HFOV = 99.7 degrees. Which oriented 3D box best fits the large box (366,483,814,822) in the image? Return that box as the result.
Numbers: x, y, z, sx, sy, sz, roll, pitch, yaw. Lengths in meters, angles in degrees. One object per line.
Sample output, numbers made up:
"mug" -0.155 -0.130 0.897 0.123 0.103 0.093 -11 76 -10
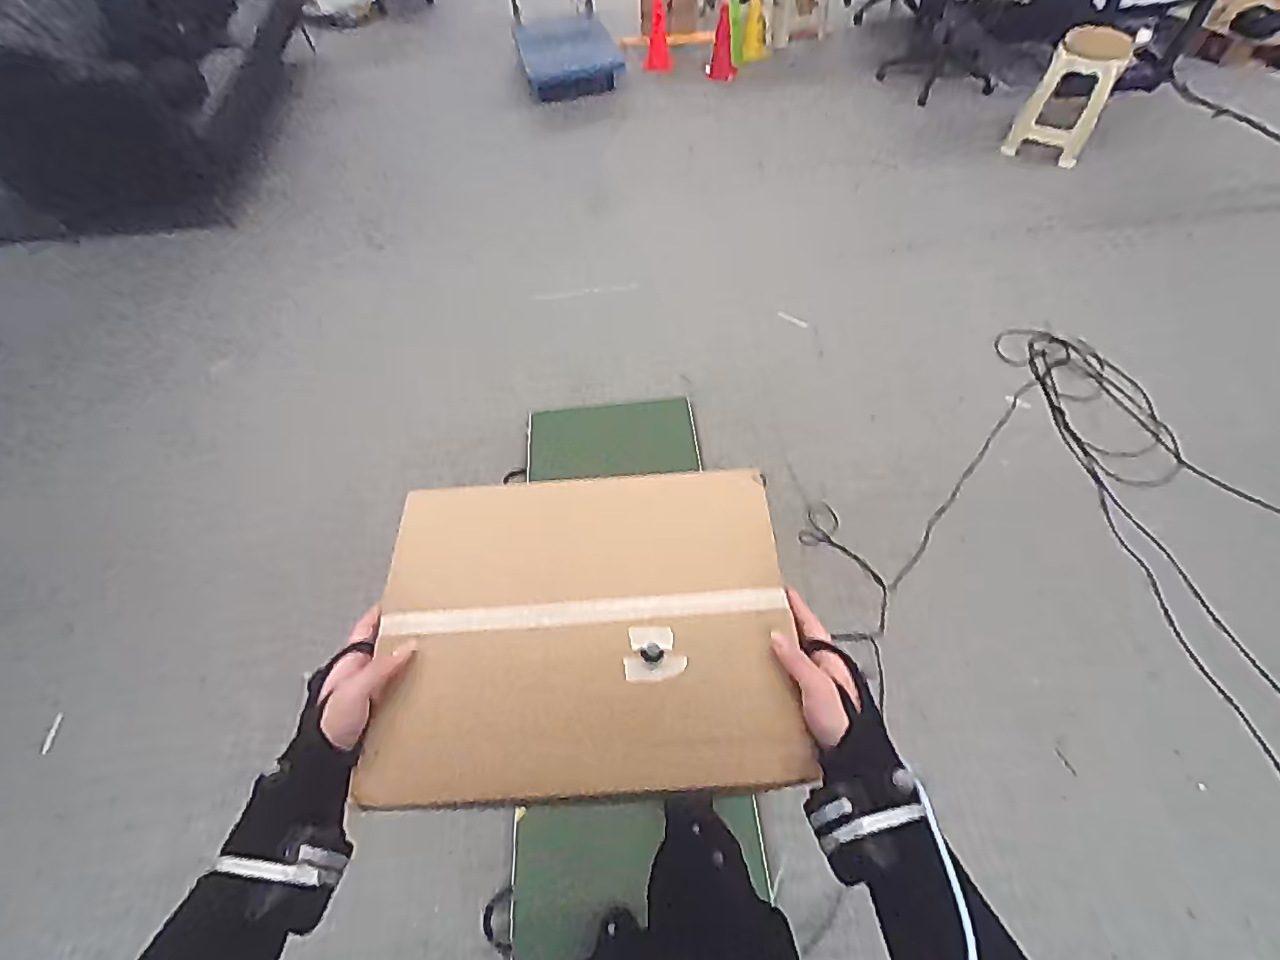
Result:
"large box" -0.049 0.227 0.675 0.408 0.320 0.320 -4 58 0
